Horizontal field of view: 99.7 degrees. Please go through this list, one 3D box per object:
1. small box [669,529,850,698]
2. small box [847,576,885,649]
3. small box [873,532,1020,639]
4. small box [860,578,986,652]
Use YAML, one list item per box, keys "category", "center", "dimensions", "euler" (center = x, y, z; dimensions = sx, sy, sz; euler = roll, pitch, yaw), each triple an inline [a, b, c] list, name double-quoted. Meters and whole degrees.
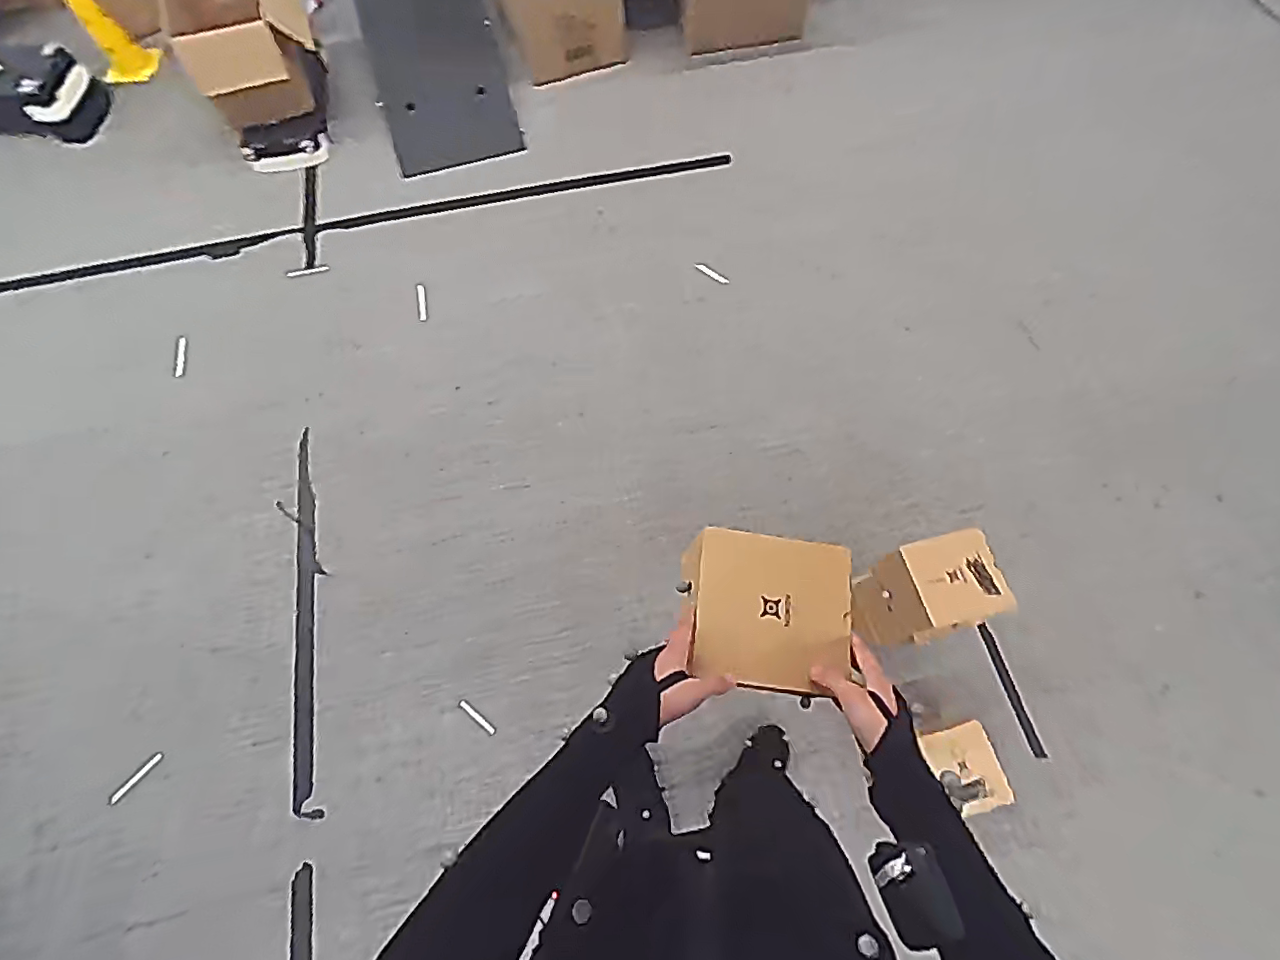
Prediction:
- category: "small box"
  center: [0.136, 0.170, 0.662]
  dimensions: [0.179, 0.176, 0.168]
  euler: [8, 69, -3]
- category: "small box"
  center: [0.643, 0.337, 1.421]
  dimensions: [0.179, 0.176, 0.168]
  euler: [-15, 69, -5]
- category: "small box"
  center: [0.618, 0.222, 1.114]
  dimensions: [0.179, 0.176, 0.168]
  euler: [-13, 68, -3]
- category: "small box"
  center: [0.647, 0.290, 1.264]
  dimensions: [0.168, 0.176, 0.179]
  euler: [-16, 69, -5]
